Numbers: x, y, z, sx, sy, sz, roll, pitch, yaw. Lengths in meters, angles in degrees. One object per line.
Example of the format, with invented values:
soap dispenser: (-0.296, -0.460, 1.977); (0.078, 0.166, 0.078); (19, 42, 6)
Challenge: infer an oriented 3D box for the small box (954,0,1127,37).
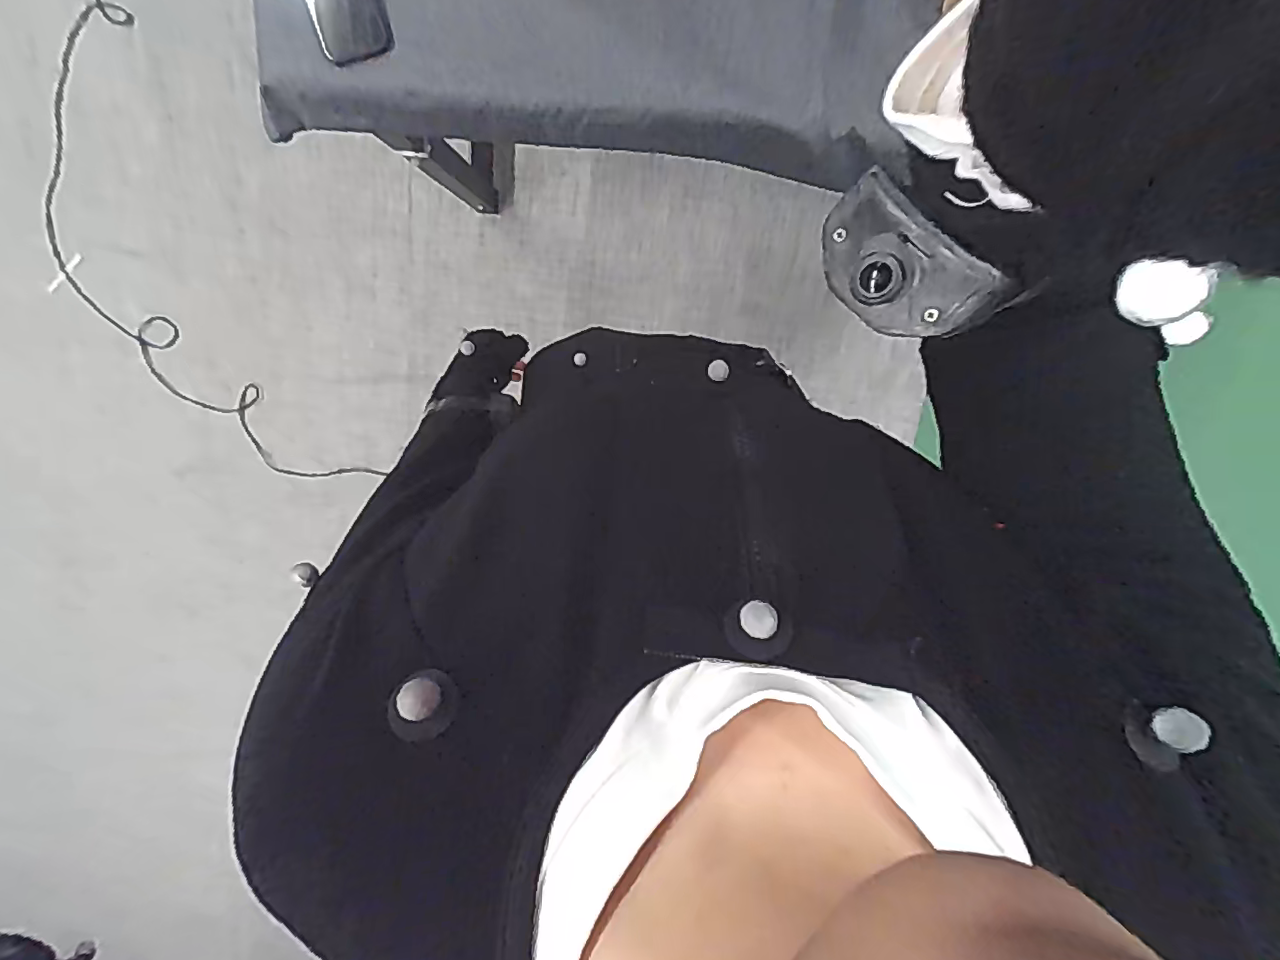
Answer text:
small box: (0.421, -0.561, 0.501); (0.168, 0.176, 0.179); (9, 104, -1)
